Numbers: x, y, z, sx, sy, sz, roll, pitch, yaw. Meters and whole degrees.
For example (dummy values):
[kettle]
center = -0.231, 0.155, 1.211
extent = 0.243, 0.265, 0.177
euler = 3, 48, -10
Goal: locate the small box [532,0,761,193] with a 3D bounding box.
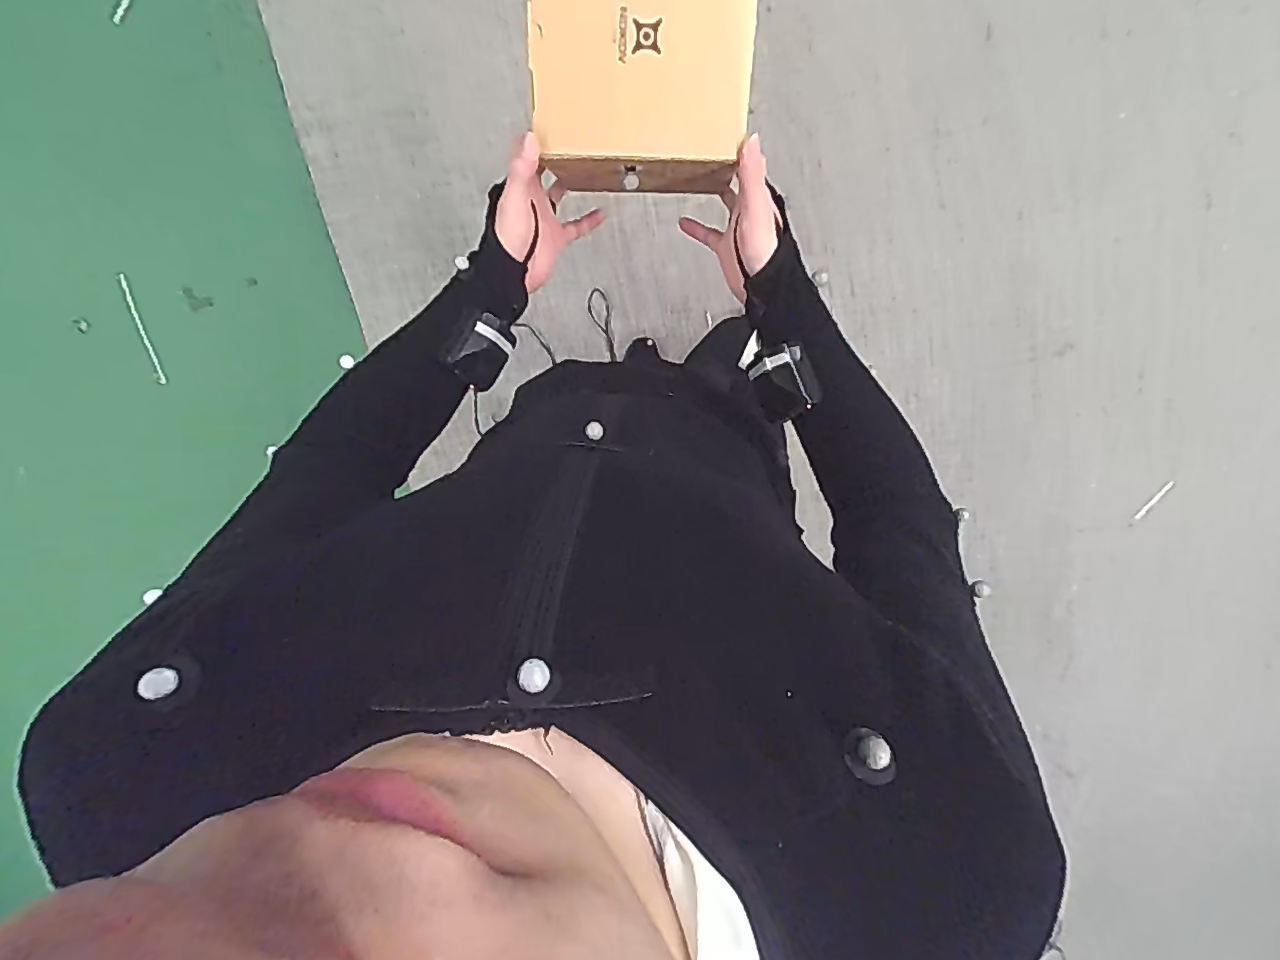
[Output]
[small box]
center = 0.008, -0.367, 0.491
extent = 0.179, 0.176, 0.168
euler = 3, 110, 4
